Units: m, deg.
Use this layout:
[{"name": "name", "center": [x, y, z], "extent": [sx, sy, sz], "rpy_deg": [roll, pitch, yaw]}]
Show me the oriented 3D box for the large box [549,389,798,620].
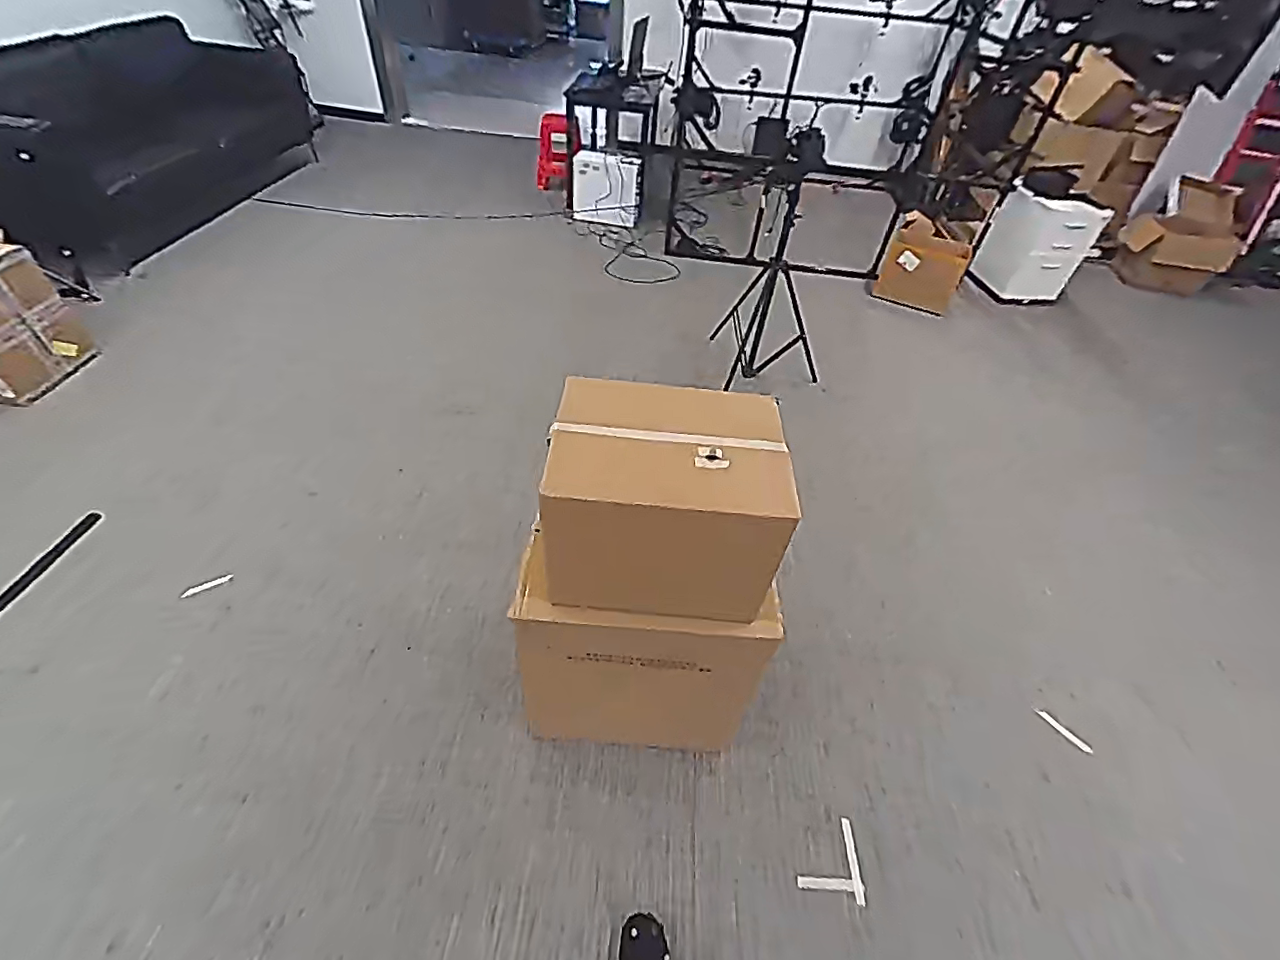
[{"name": "large box", "center": [0.043, 0.051, 1.053], "extent": [0.408, 0.320, 0.320], "rpy_deg": [6, 45, -2]}]
